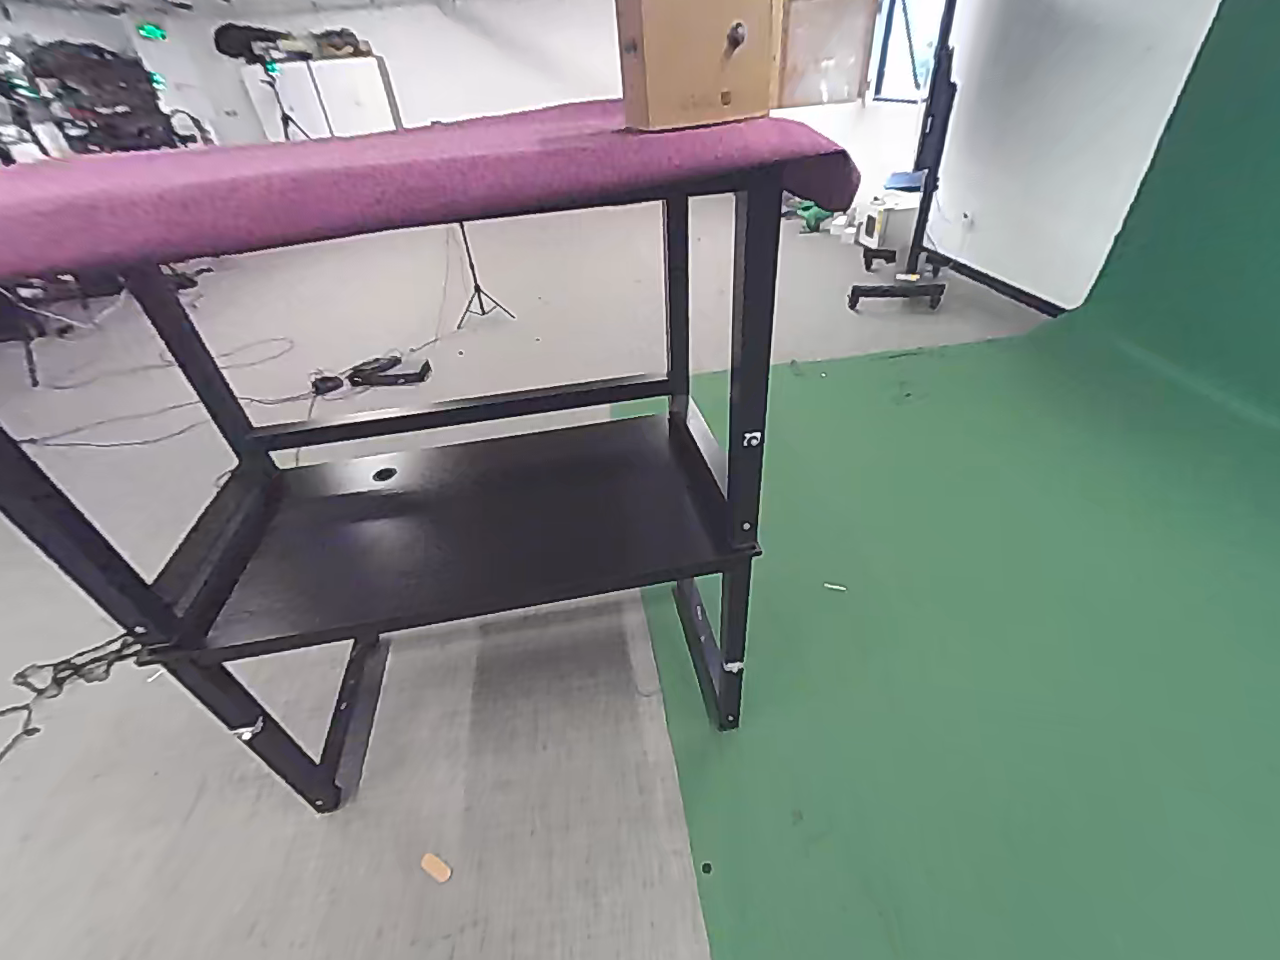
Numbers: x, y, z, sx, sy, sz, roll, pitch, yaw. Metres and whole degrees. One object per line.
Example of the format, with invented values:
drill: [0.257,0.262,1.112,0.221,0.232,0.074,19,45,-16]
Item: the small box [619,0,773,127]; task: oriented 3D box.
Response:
small box: [0.072,-0.577,0.716,0.168,0.176,0.179,-10,35,-6]
